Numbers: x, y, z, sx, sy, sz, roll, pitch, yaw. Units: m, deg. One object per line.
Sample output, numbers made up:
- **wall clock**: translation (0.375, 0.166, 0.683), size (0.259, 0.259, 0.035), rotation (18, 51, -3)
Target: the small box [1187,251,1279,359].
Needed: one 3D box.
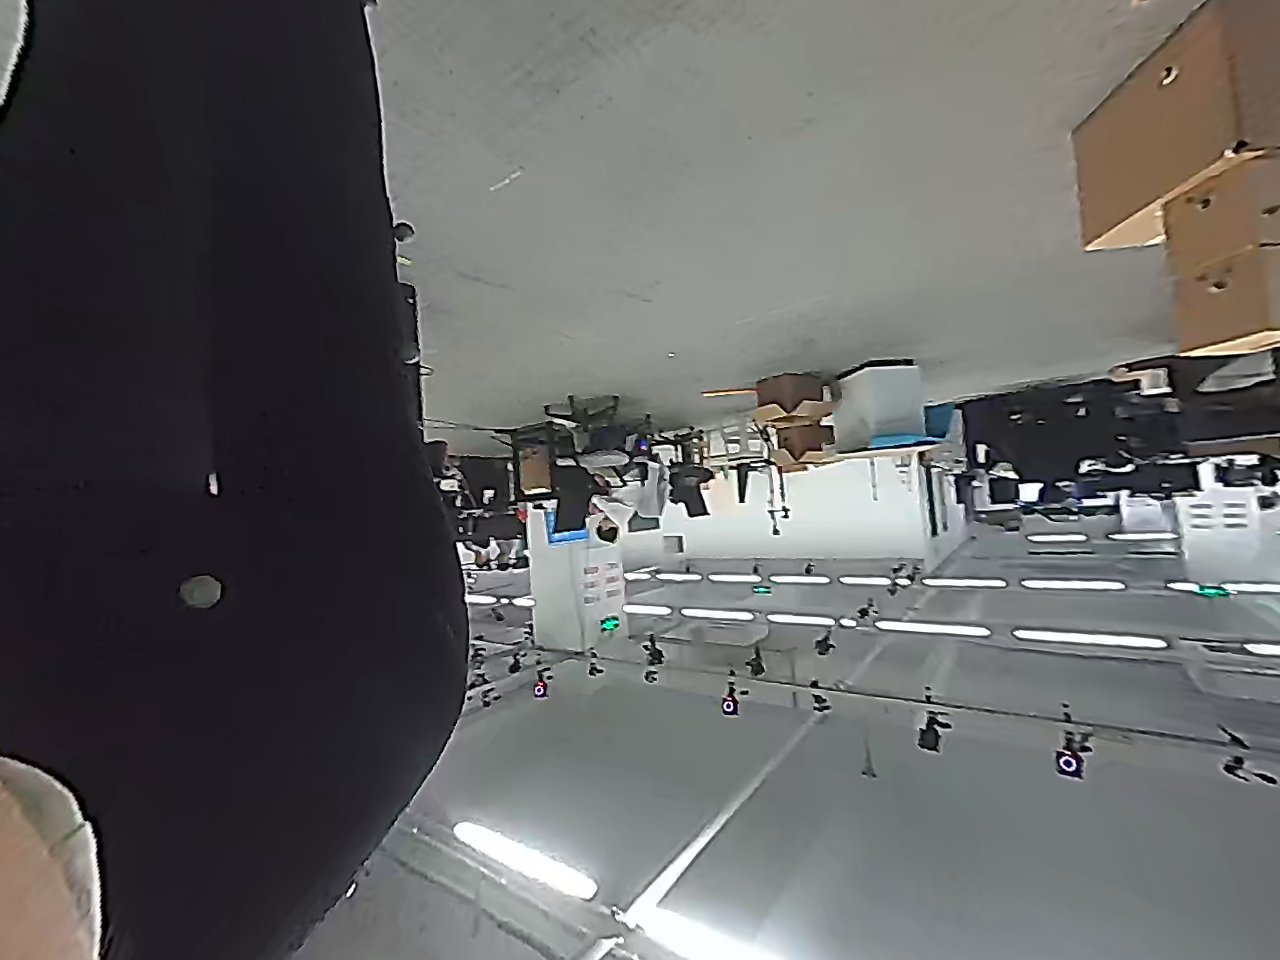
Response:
- **small box**: translation (1.250, -0.345, 1.070), size (0.179, 0.176, 0.168), rotation (-2, 177, -4)
